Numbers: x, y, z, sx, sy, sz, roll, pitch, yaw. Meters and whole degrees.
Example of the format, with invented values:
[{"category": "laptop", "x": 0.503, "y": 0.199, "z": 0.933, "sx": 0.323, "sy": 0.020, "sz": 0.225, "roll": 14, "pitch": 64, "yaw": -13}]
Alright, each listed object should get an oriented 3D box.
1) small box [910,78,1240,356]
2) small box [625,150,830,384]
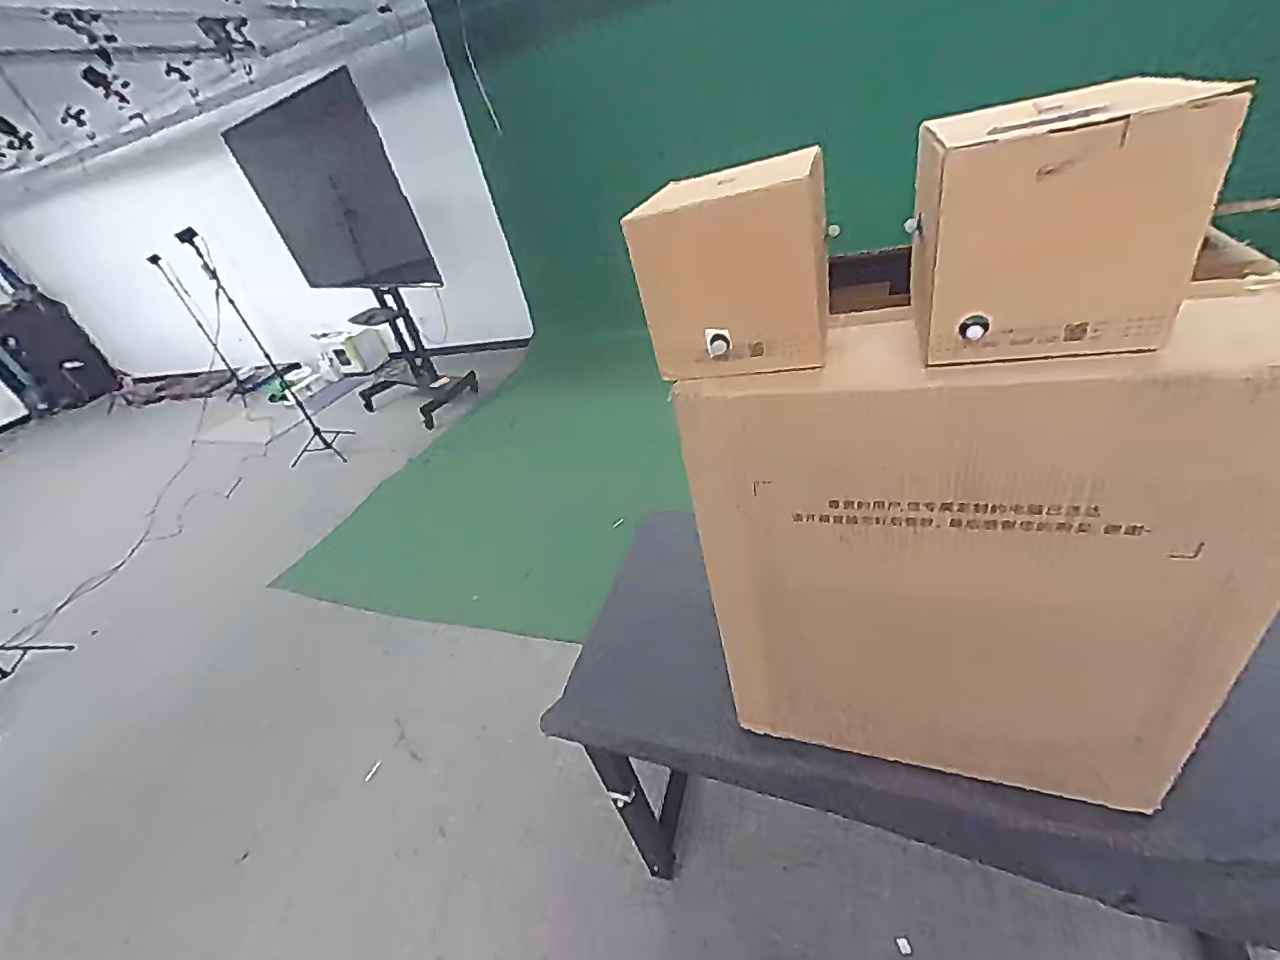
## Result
[{"category": "small box", "x": 0.328, "y": -0.213, "z": 0.458, "sx": 0.168, "sy": 0.176, "sz": 0.179, "roll": 1, "pitch": 37, "yaw": 21}, {"category": "small box", "x": 0.104, "y": -0.217, "z": 0.563, "sx": 0.168, "sy": 0.176, "sz": 0.179, "roll": -2, "pitch": 37, "yaw": 23}]
